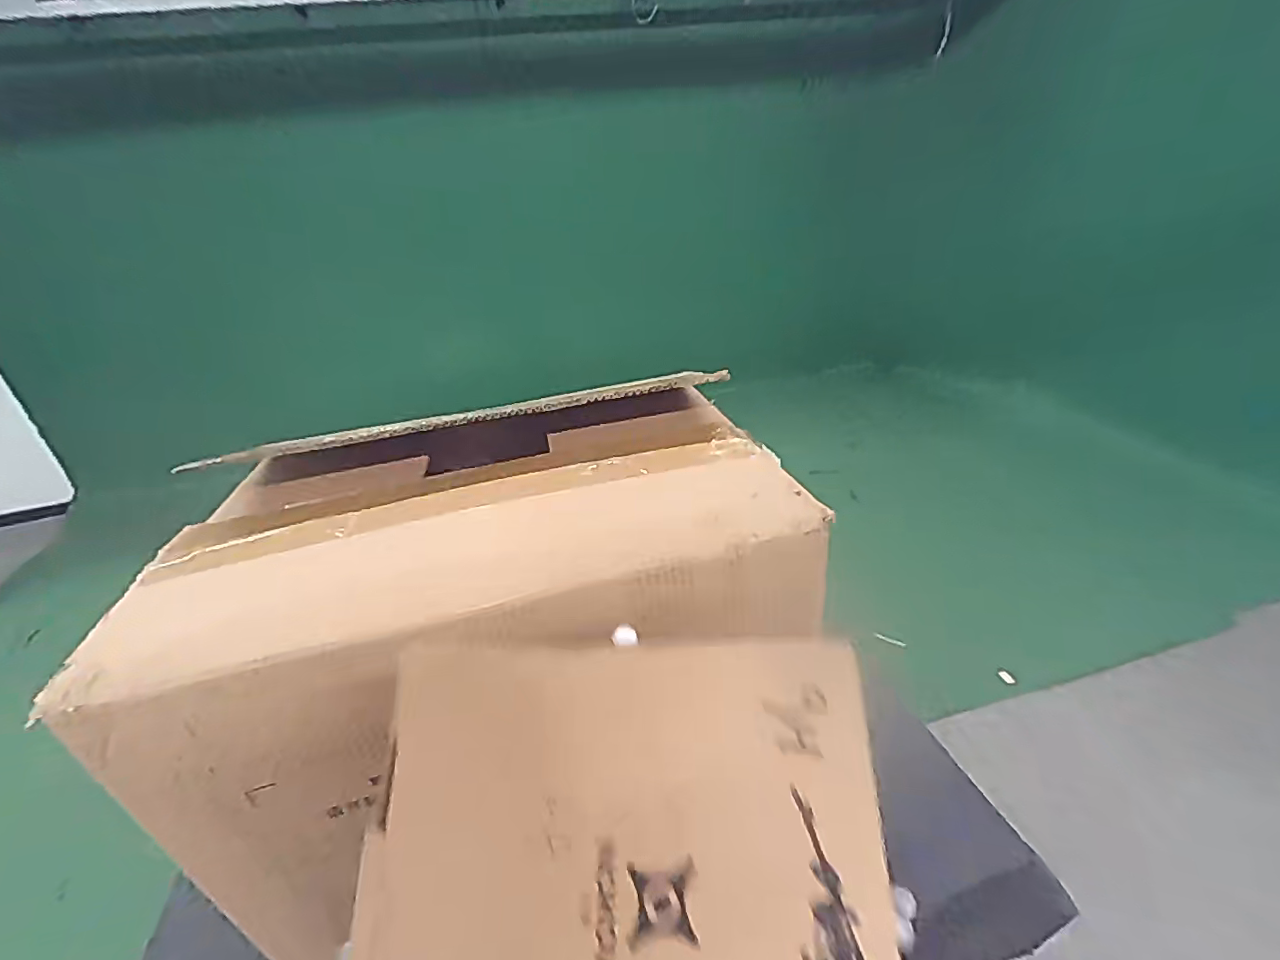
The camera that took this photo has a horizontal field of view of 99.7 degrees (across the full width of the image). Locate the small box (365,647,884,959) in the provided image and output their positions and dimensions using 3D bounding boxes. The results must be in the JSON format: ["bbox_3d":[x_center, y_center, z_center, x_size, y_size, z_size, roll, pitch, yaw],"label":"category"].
[{"bbox_3d":[-0.006,0.171,0.261,0.179,0.176,0.168,1,71,-2],"label":"small box"}]
